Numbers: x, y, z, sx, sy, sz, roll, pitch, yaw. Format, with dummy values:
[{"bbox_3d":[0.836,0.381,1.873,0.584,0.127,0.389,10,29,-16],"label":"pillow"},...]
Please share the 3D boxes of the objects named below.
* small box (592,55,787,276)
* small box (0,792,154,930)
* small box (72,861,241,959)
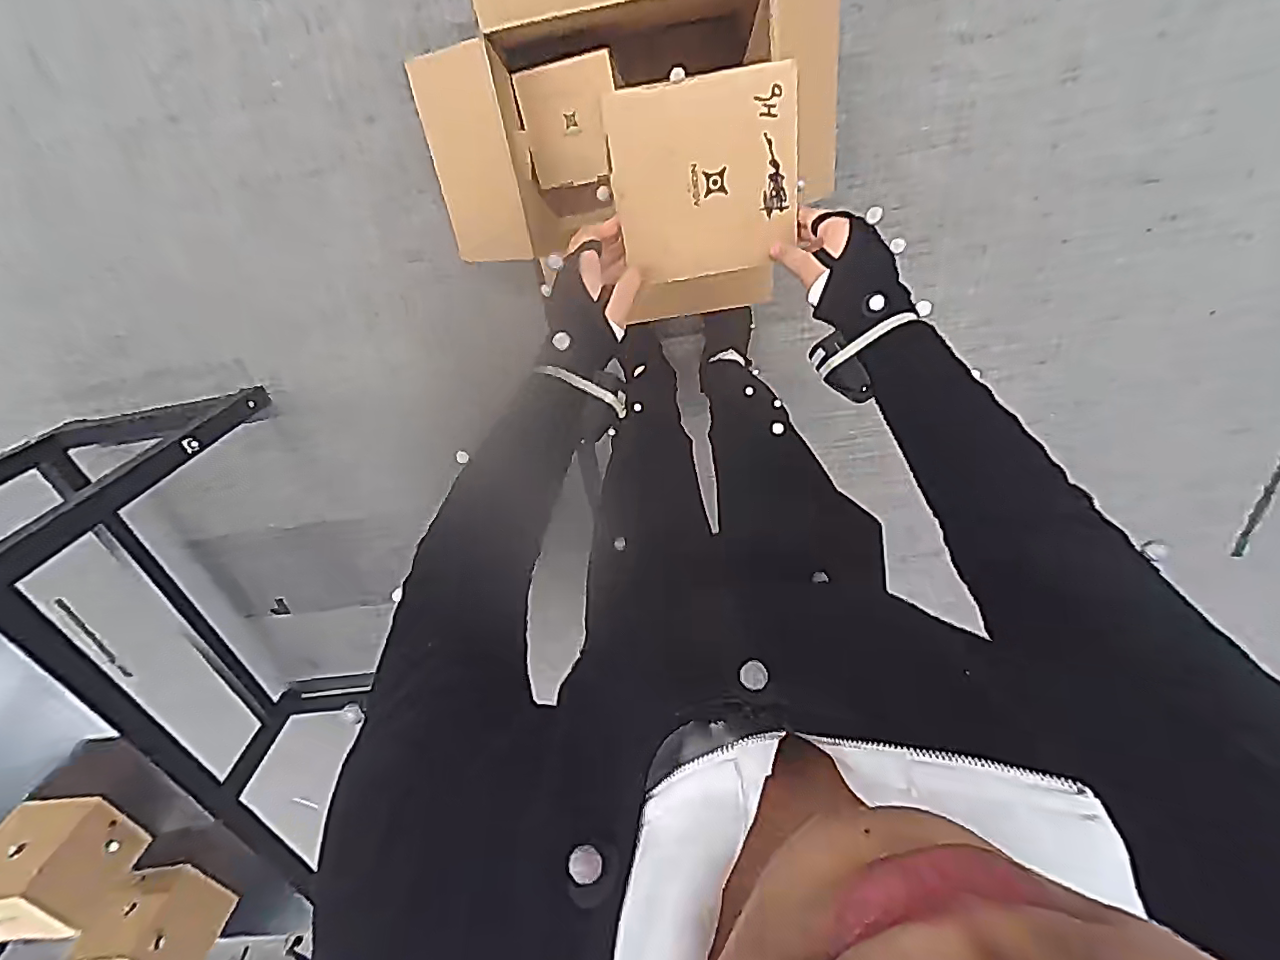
[{"bbox_3d":[0.051,-0.332,0.584,0.179,0.176,0.168,-9,122,2],"label":"small box"},{"bbox_3d":[-1.110,0.724,1.034,0.179,0.176,0.168,-7,123,5],"label":"small box"},{"bbox_3d":[-1.043,0.962,1.184,0.168,0.176,0.179,-13,122,10],"label":"small box"}]
